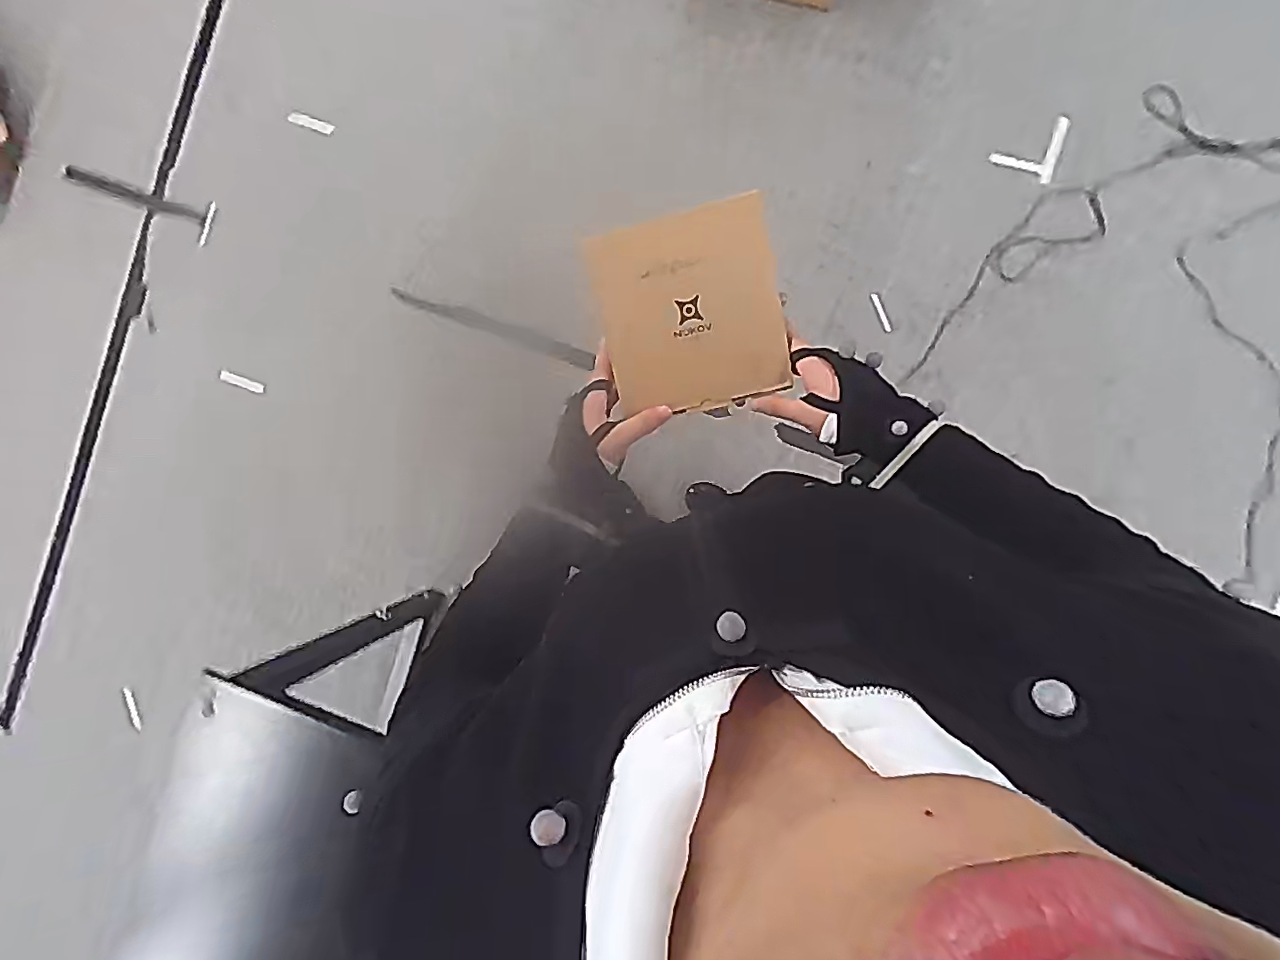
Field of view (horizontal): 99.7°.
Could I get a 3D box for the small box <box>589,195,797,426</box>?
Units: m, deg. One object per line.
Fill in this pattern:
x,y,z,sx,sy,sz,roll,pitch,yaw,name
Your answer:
0.056,-0.168,0.567,0.168,0.176,0.179,-11,102,6,small box
